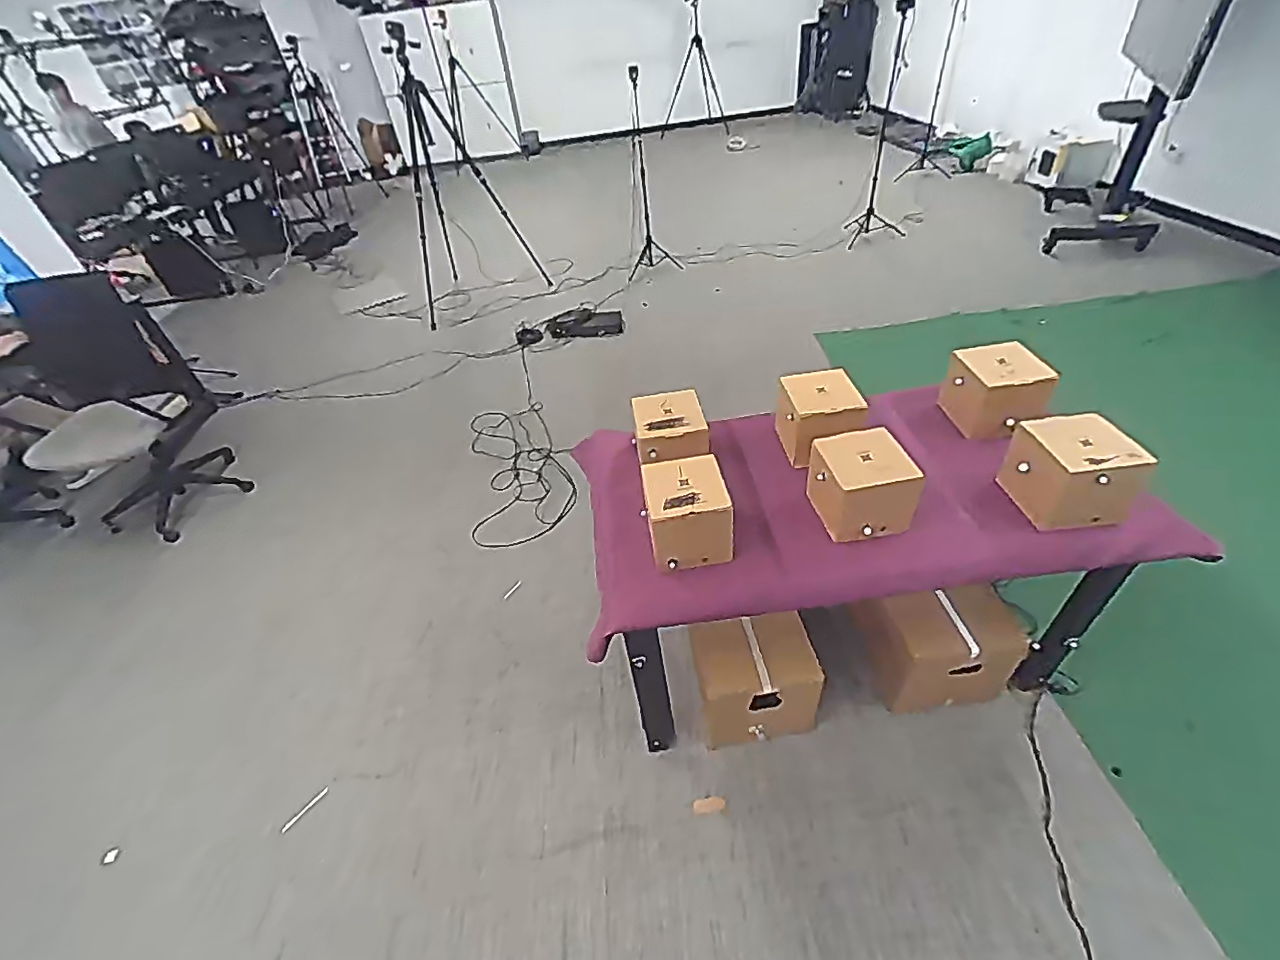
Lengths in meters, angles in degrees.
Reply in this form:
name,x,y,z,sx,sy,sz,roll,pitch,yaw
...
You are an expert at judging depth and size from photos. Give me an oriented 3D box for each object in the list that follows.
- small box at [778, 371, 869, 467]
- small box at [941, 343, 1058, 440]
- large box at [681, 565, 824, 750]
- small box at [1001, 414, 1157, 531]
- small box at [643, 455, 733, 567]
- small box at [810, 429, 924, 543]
name,x,y,z,sx,sy,sz,roll,pitch,yaw
small box,0.459,-0.156,1.384,0.168,0.176,0.179,-8,42,0
small box,0.901,-0.224,1.378,0.168,0.176,0.179,-9,42,3
large box,0.321,0.529,1.634,0.320,0.320,0.408,-9,40,-2
small box,0.907,-0.016,1.142,0.168,0.176,0.179,-8,39,3
small box,0.105,0.073,1.180,0.168,0.176,0.179,-9,40,-1
small box,0.484,0.013,1.186,0.168,0.176,0.179,-10,41,0
